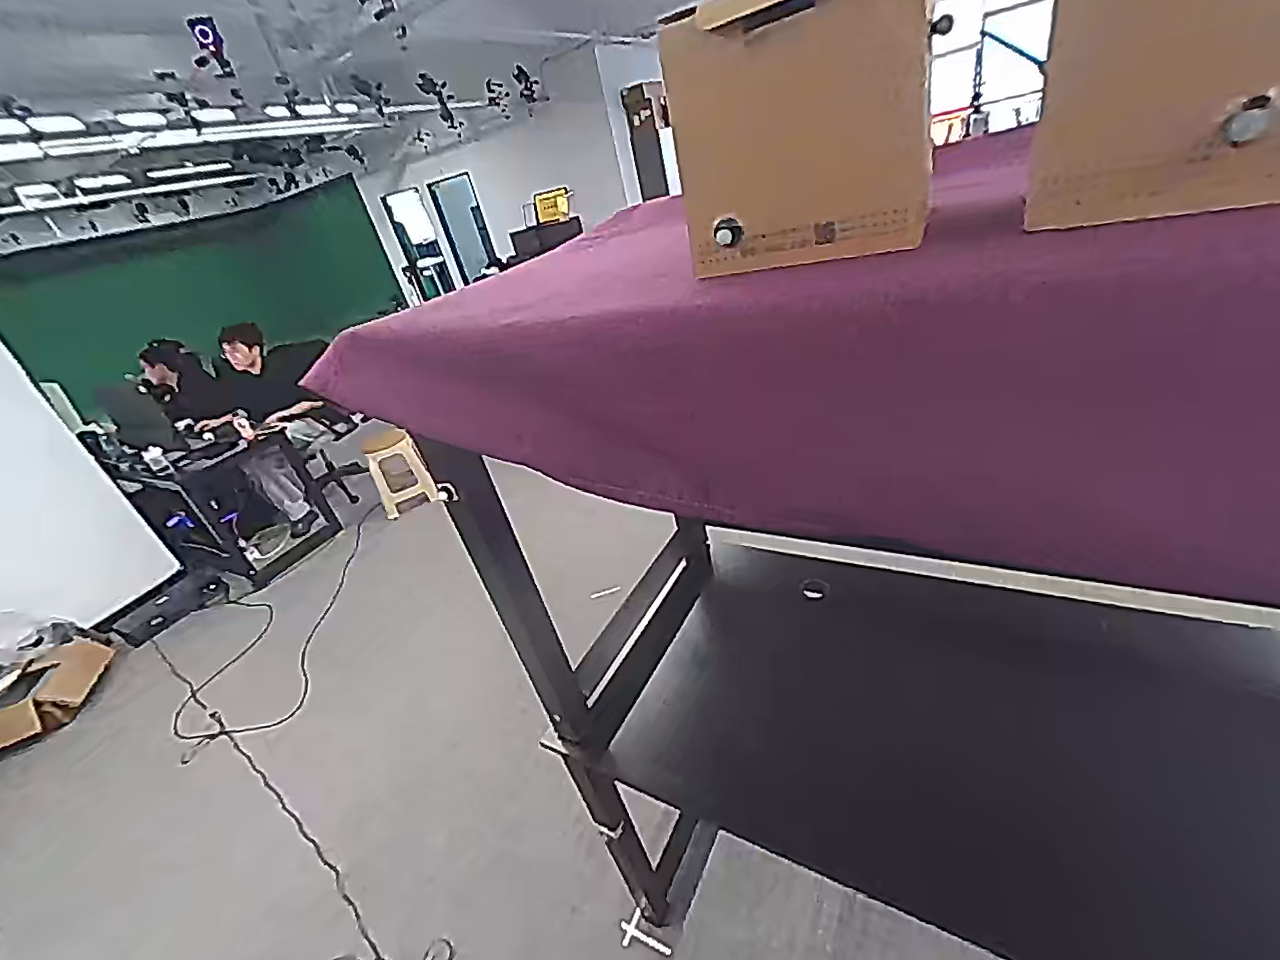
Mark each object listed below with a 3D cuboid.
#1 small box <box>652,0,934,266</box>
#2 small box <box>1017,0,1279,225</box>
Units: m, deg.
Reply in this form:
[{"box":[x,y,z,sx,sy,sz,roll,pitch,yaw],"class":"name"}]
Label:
[{"box":[0.131,-0.273,0.419,0.168,0.176,0.179,3,33,28],"class":"small box"},{"box":[0.327,-0.253,0.294,0.179,0.176,0.168,8,36,34],"class":"small box"}]
